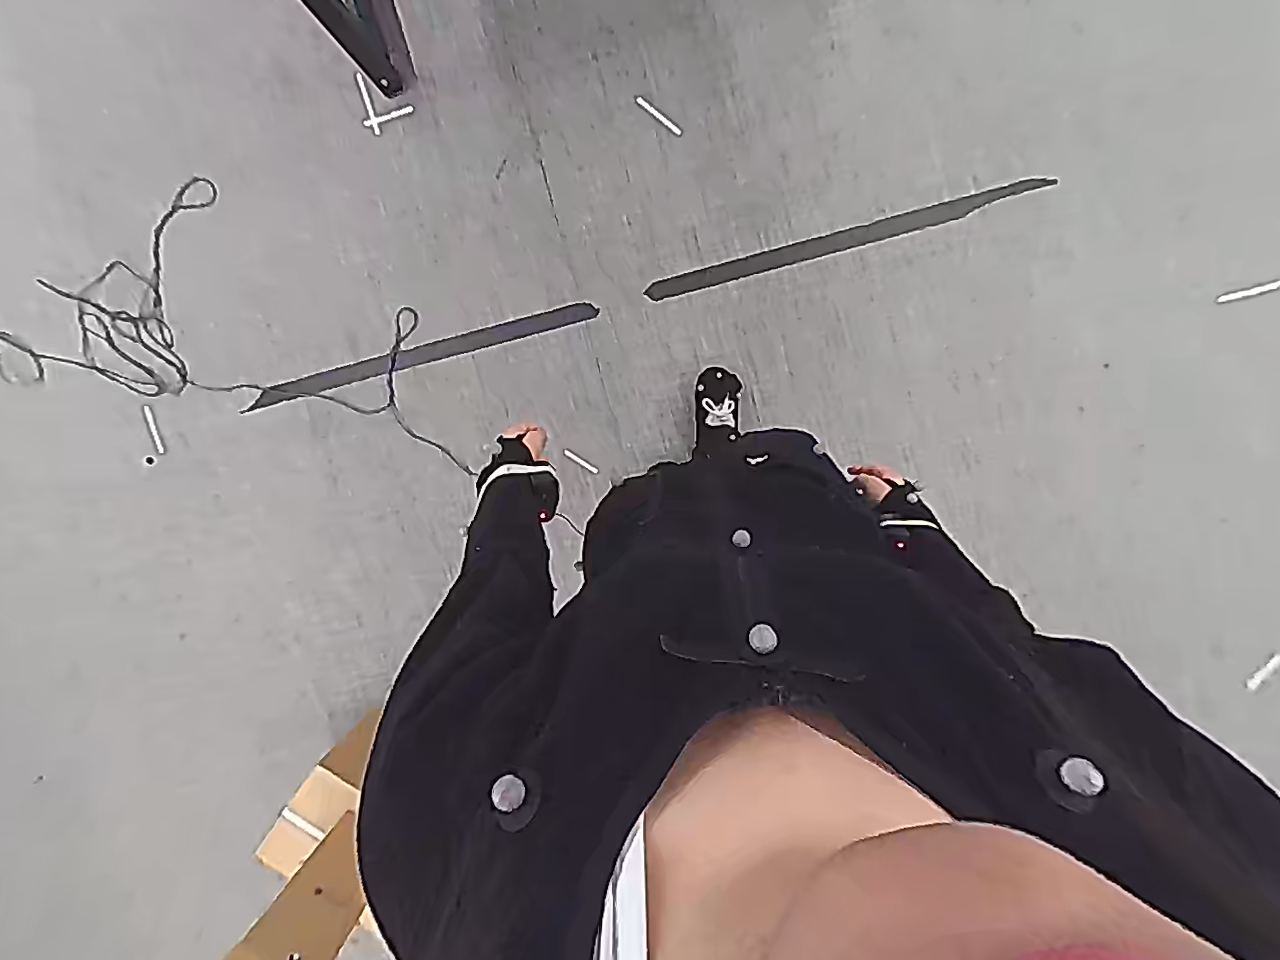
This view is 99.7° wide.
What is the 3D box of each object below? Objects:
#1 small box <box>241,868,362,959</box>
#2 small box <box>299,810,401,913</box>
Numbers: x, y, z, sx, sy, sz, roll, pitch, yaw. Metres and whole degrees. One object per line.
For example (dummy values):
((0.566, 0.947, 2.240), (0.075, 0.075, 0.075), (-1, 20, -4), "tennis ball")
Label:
((-0.697, 0.939, 1.078), (0.168, 0.176, 0.179), (34, 98, -1), "small box")
((-0.686, 0.917, 1.240), (0.168, 0.176, 0.179), (34, 97, -1), "small box")
